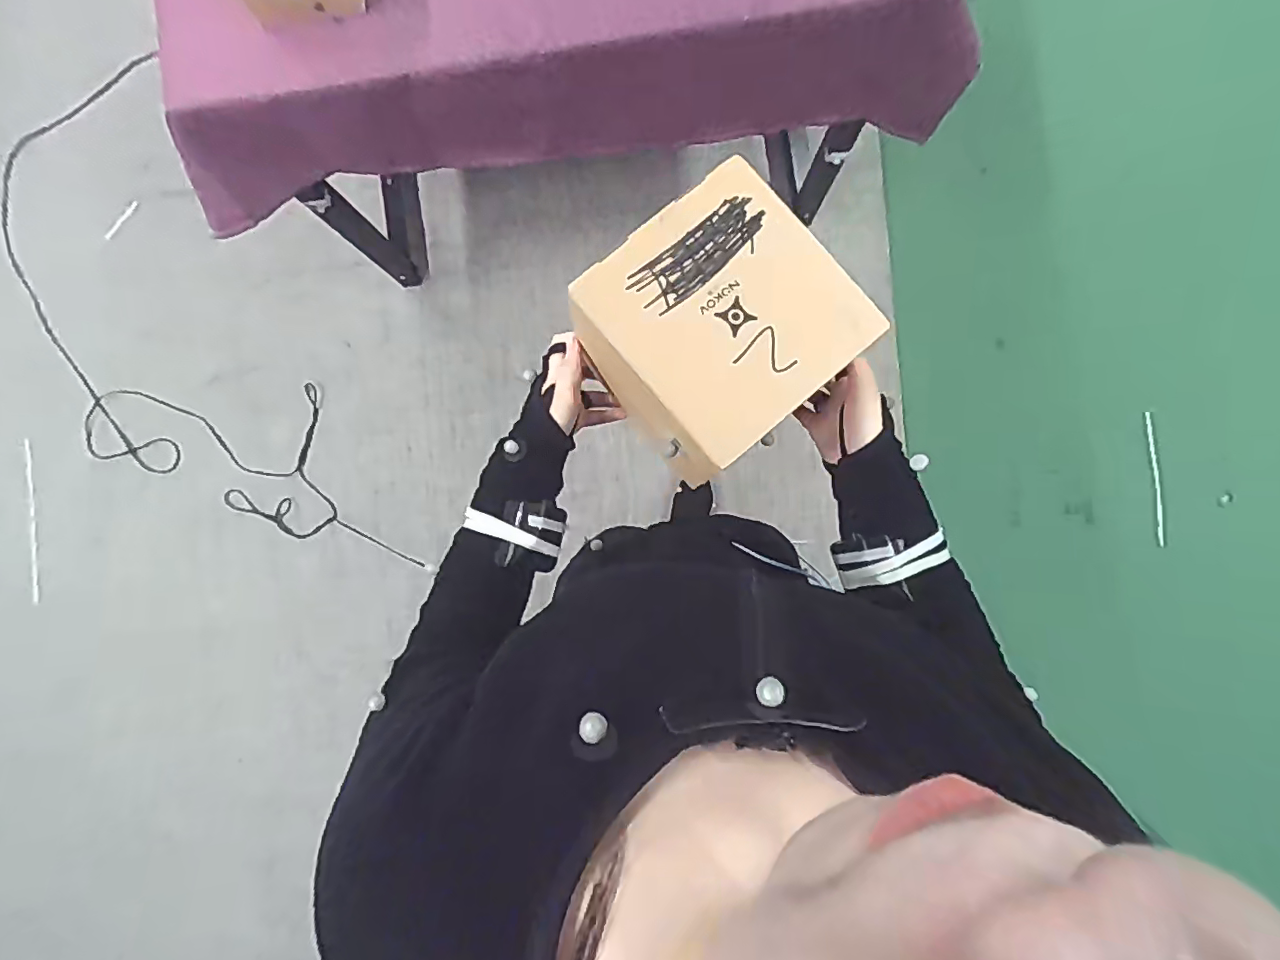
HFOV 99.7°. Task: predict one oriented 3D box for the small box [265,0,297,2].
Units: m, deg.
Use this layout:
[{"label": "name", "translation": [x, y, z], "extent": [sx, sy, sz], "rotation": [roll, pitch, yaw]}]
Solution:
[{"label": "small box", "translation": [-0.505, -0.798, 0.732], "extent": [0.168, 0.176, 0.179], "rotation": [-5, 89, 0]}]
